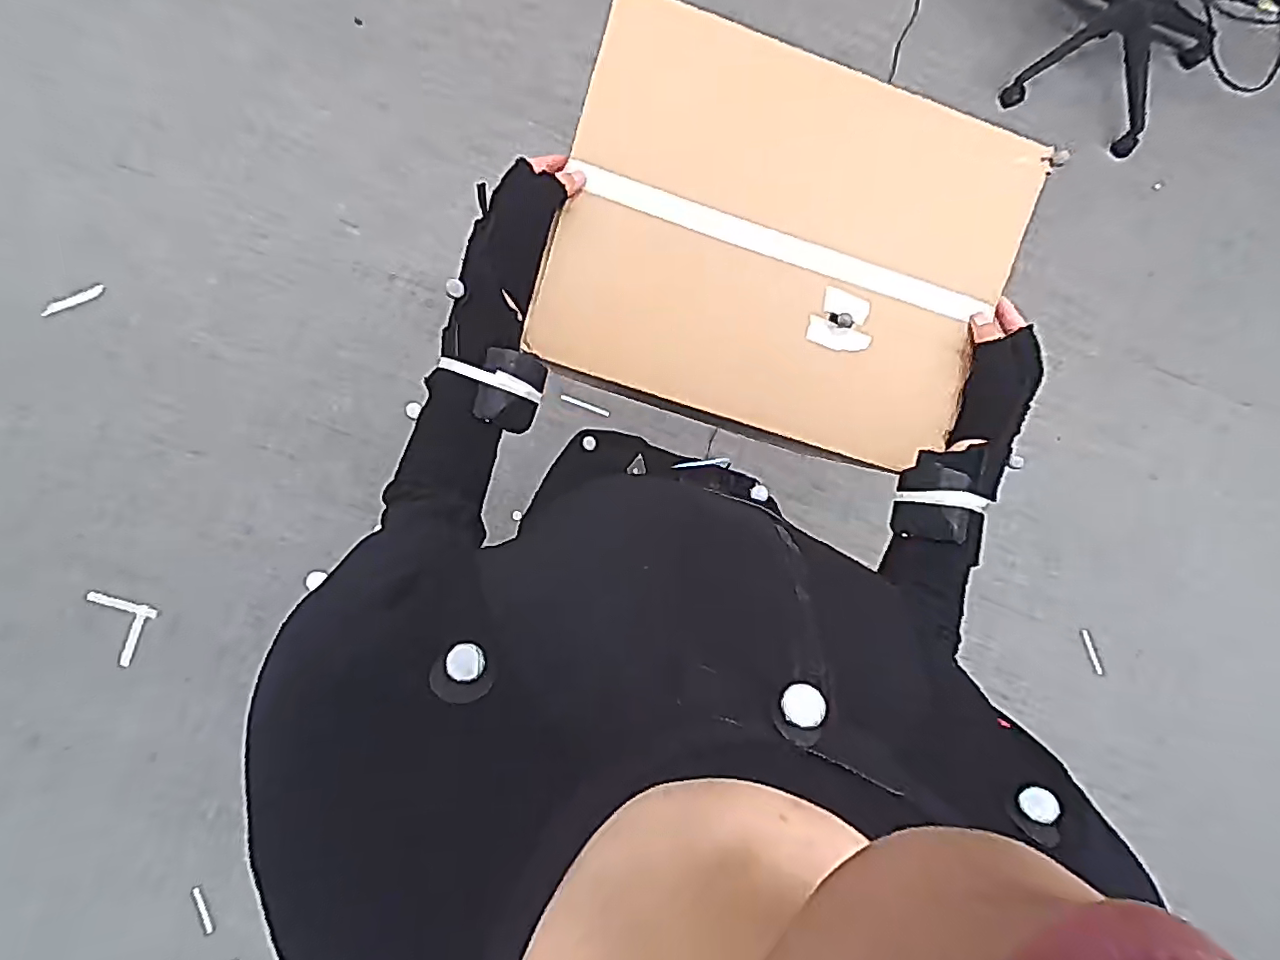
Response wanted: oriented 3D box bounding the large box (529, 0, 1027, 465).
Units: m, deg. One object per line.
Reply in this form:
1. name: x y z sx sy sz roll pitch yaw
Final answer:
1. large box: 0.115 -0.230 0.640 0.408 0.320 0.320 17 97 -7
